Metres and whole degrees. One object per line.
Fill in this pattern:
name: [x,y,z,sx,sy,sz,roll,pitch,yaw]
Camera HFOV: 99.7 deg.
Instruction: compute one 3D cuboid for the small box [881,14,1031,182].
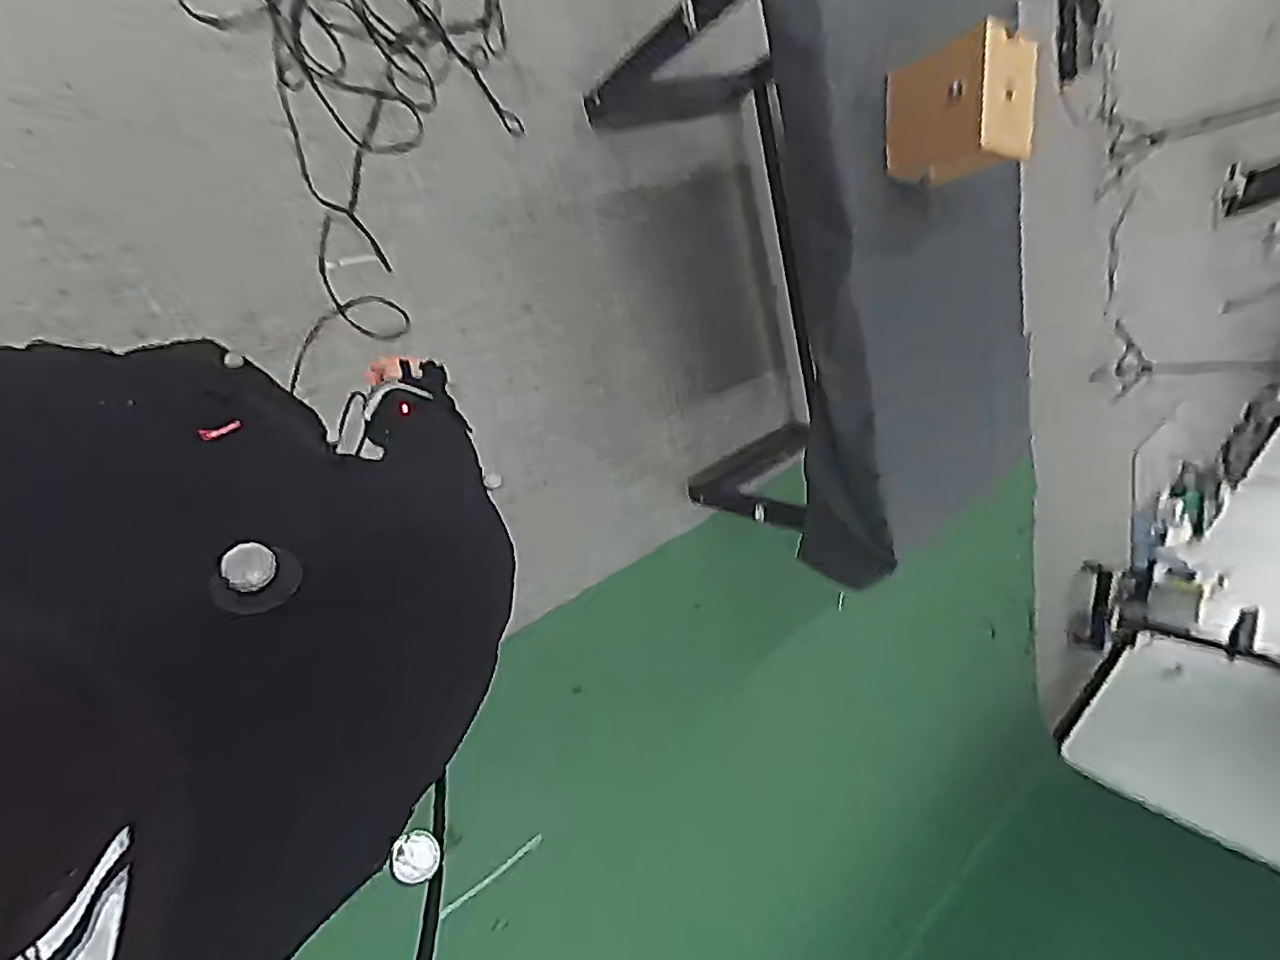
small box: [0.537,-0.638,0.931,0.168,0.176,0.179,-14,107,-31]
